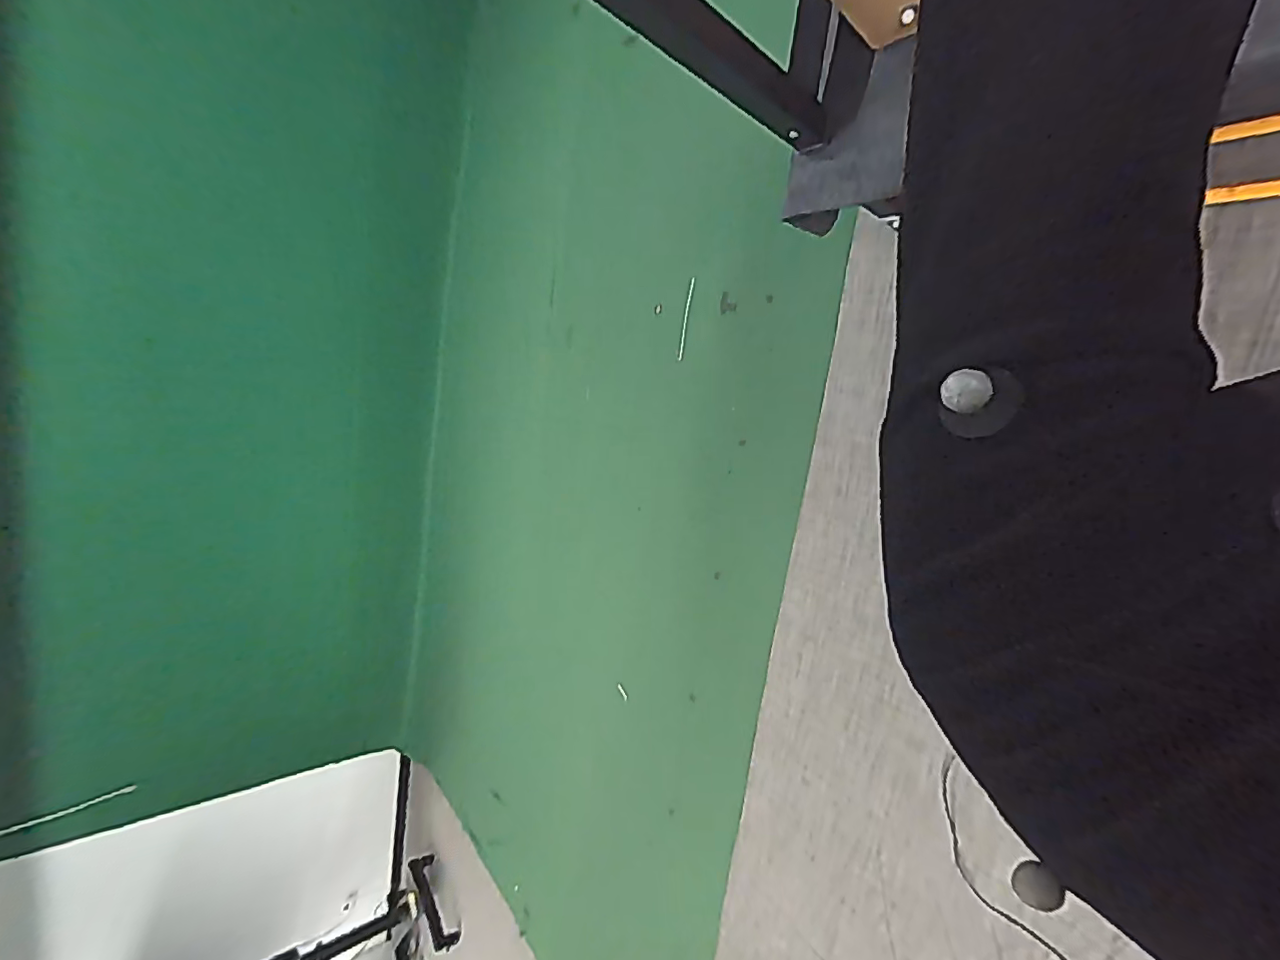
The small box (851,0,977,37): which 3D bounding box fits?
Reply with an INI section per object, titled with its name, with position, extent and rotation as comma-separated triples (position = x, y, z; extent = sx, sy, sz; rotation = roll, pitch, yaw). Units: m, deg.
[small box]
position = 0.360, -0.736, 0.696
extent = 0.168, 0.176, 0.179
rotation = 17, 102, 47
